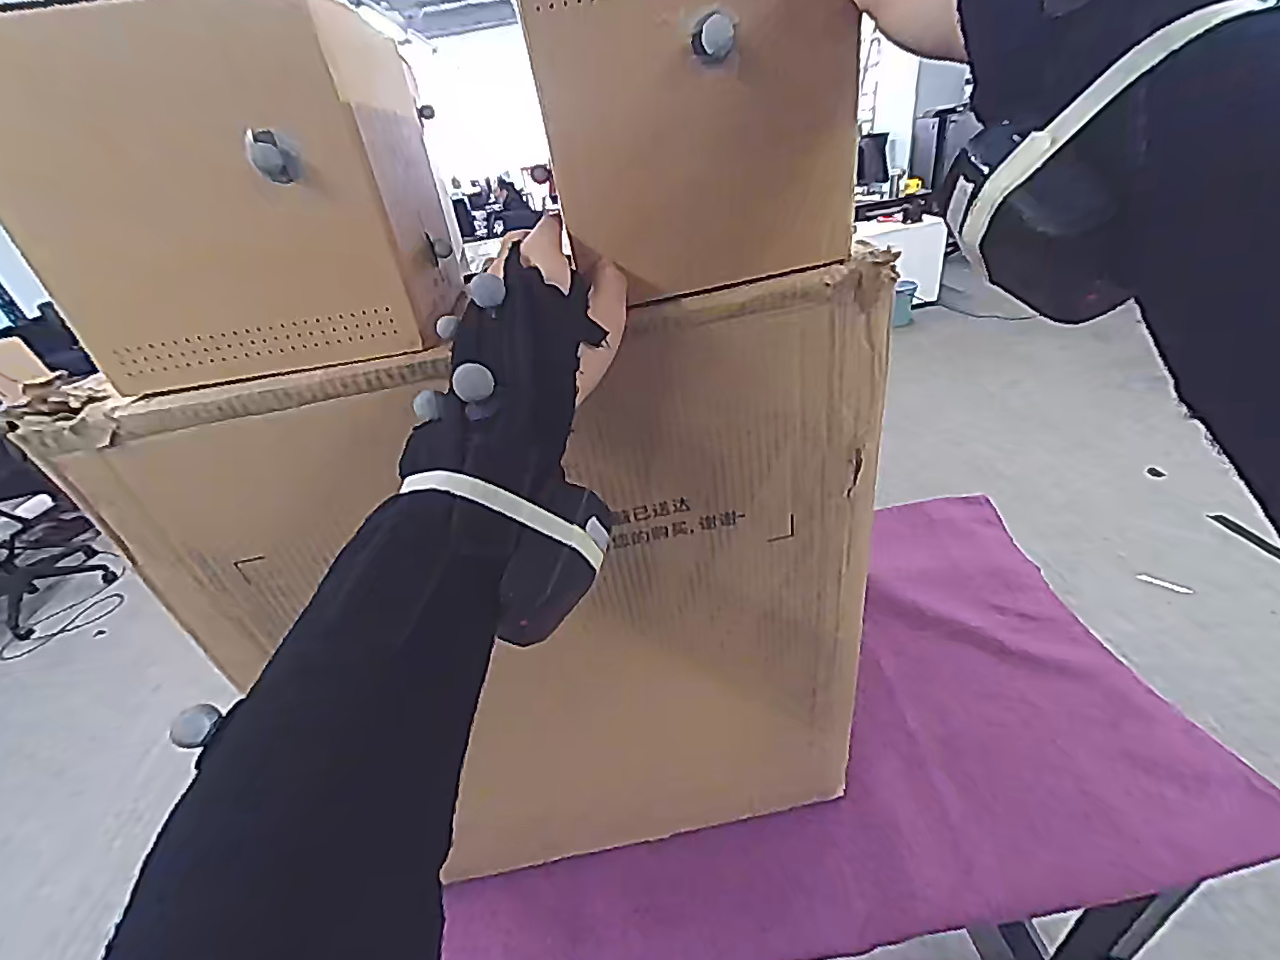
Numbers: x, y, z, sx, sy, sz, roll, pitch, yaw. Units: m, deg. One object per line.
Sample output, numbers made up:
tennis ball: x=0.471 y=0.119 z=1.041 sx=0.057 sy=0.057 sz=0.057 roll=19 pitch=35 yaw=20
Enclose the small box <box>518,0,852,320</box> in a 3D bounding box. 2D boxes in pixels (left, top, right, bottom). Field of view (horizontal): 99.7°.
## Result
small box: x=0.025 y=-0.223 z=0.349 sx=0.168 sy=0.176 sz=0.179 roll=-13 pitch=32 yaw=-2
